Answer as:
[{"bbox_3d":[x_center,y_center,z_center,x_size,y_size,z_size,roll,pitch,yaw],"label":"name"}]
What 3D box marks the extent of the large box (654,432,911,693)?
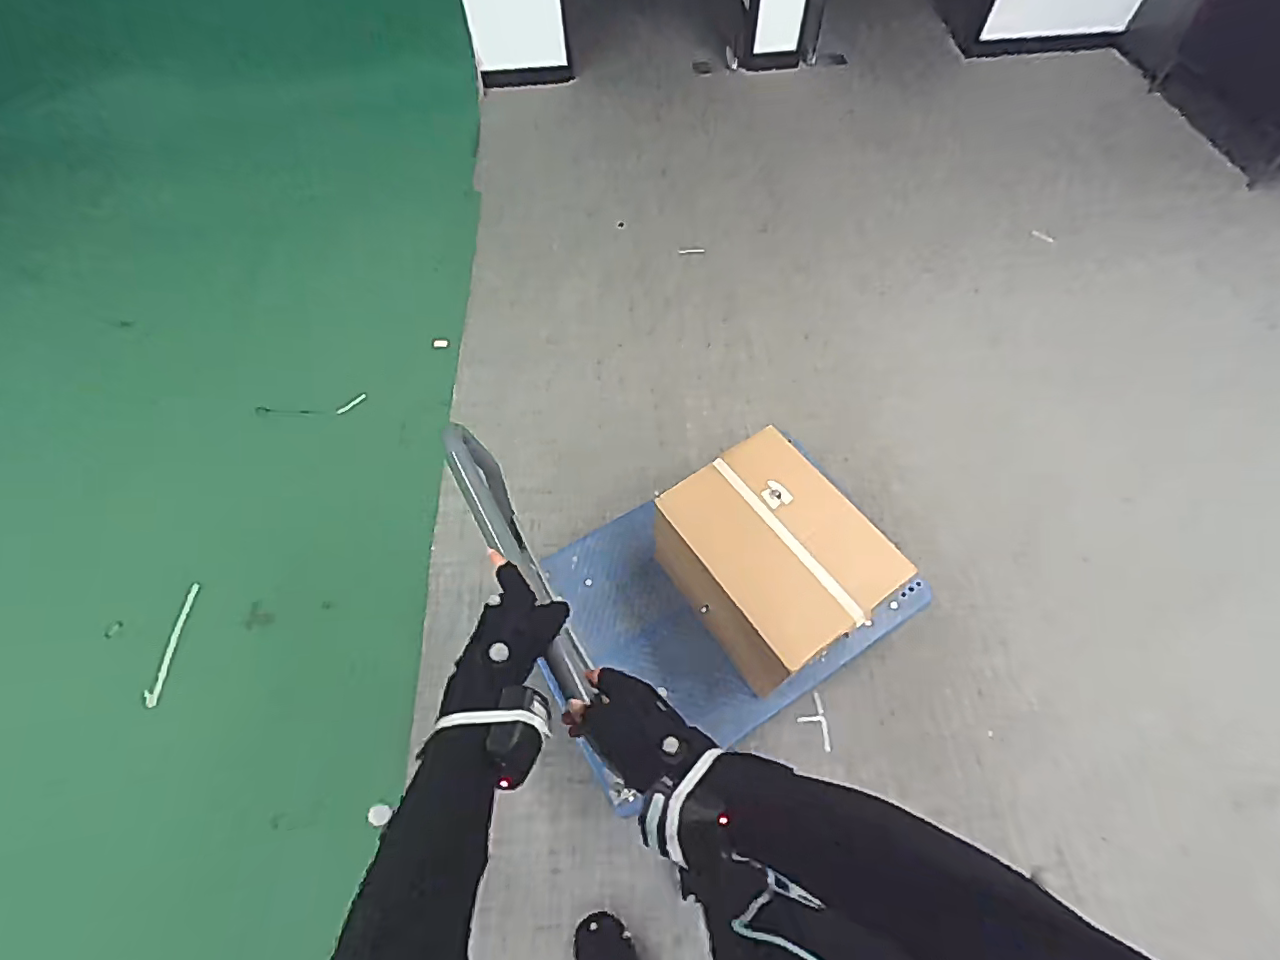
[{"bbox_3d":[0.275,0.182,1.171,0.320,0.320,0.408,-32,63,-15],"label":"large box"}]
